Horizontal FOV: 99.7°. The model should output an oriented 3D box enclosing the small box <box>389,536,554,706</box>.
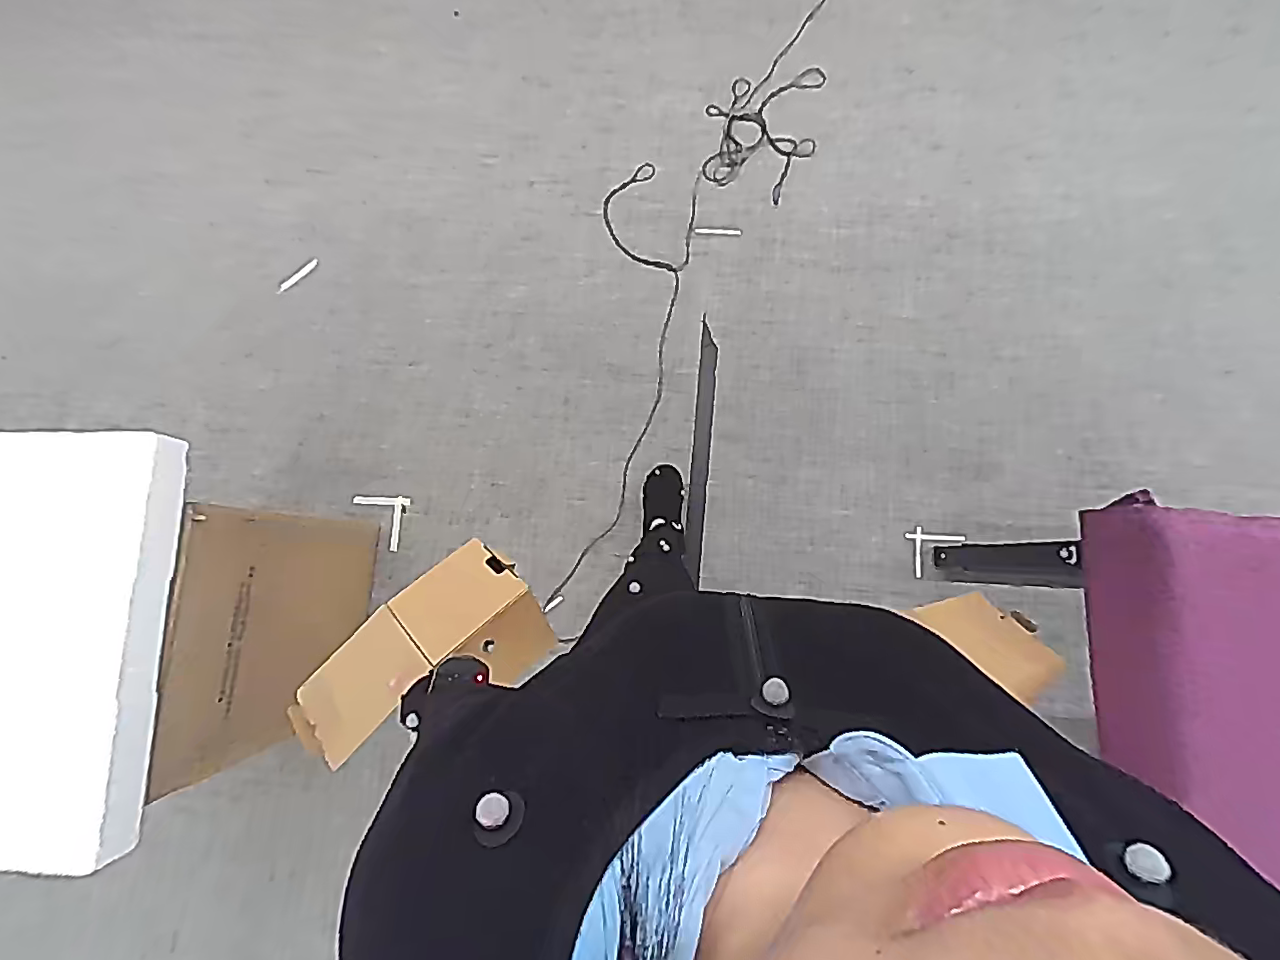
[{"bbox_3d":[-0.270,0.234,0.896,0.179,0.176,0.168,-38,49,-25],"label":"small box"}]
